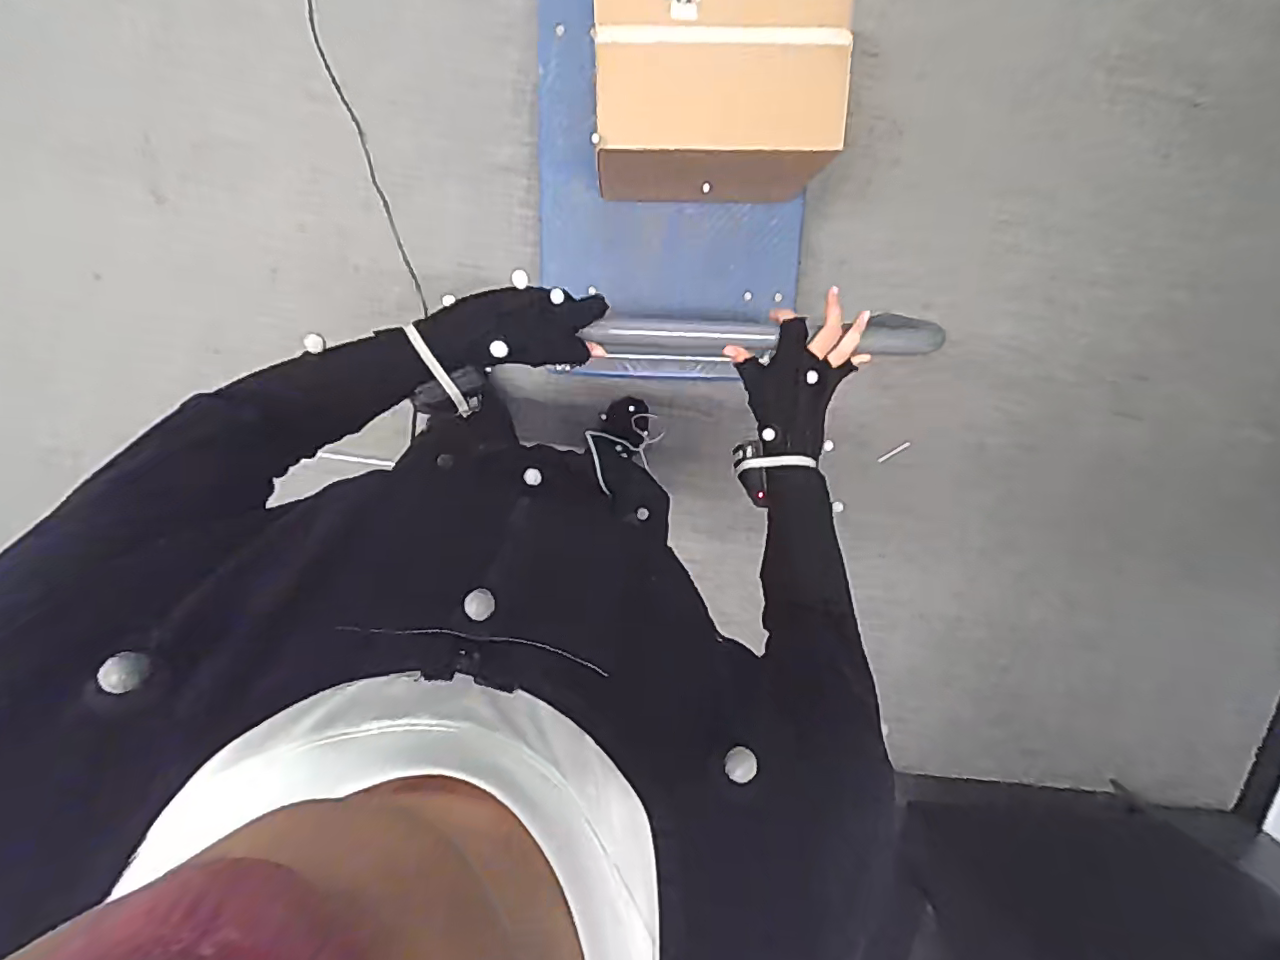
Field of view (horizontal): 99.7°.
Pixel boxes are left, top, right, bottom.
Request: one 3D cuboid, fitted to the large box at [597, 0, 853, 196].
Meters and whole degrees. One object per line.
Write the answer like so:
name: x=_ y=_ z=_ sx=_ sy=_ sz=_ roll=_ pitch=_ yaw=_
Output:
large box: x=0.133 y=-0.732 z=0.992 sx=0.408 sy=0.320 sz=0.320 roll=-2 pitch=103 yaw=-1
